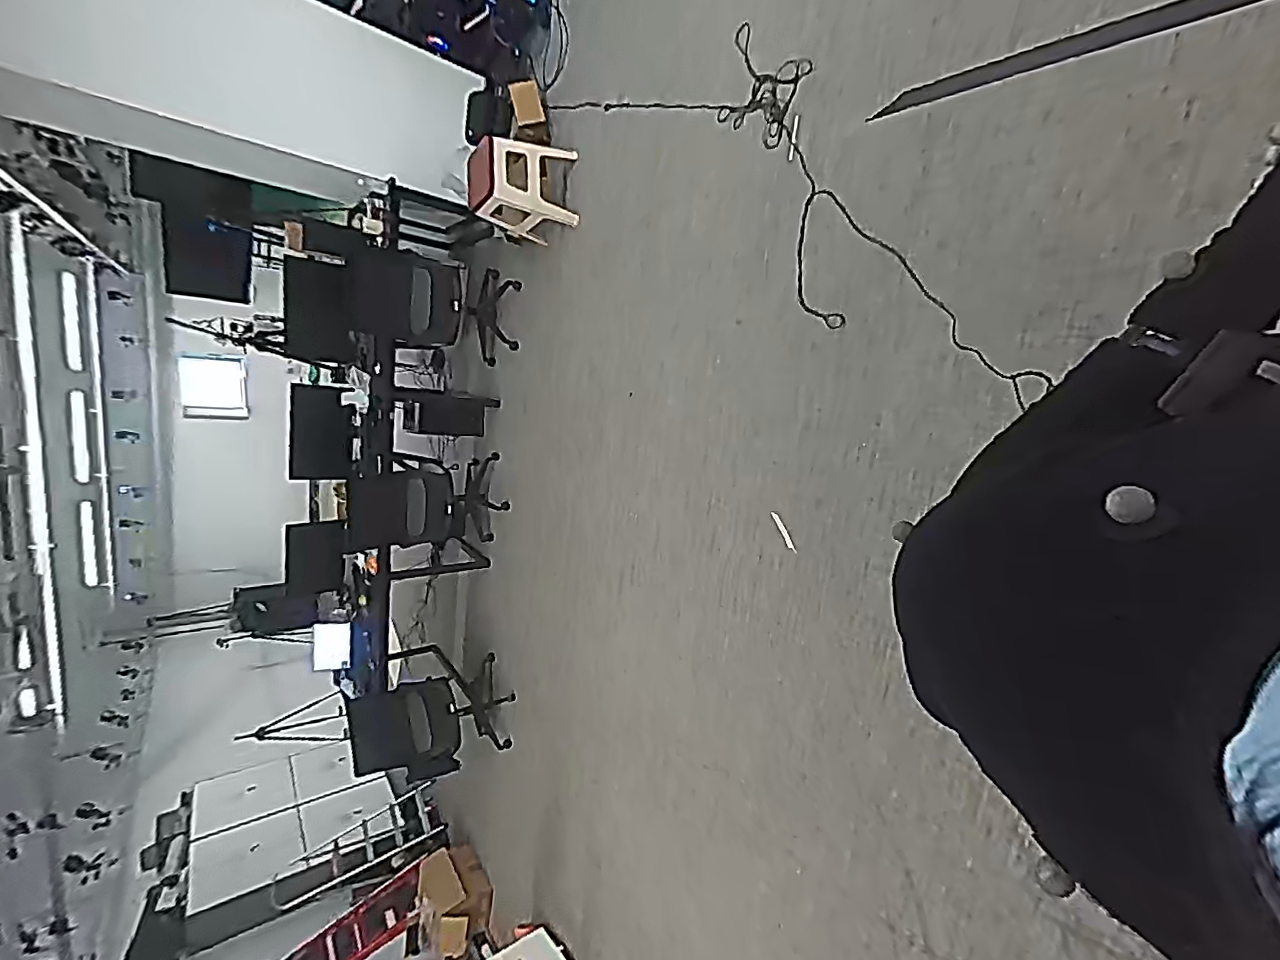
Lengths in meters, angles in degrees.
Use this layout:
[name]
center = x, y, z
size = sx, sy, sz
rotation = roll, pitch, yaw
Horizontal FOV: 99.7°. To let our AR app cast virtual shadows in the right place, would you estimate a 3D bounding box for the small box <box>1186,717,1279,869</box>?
[small box]
center = 1.123, 0.556, 0.959
size = 0.168, 0.176, 0.179
rotation = 25, 111, 50
